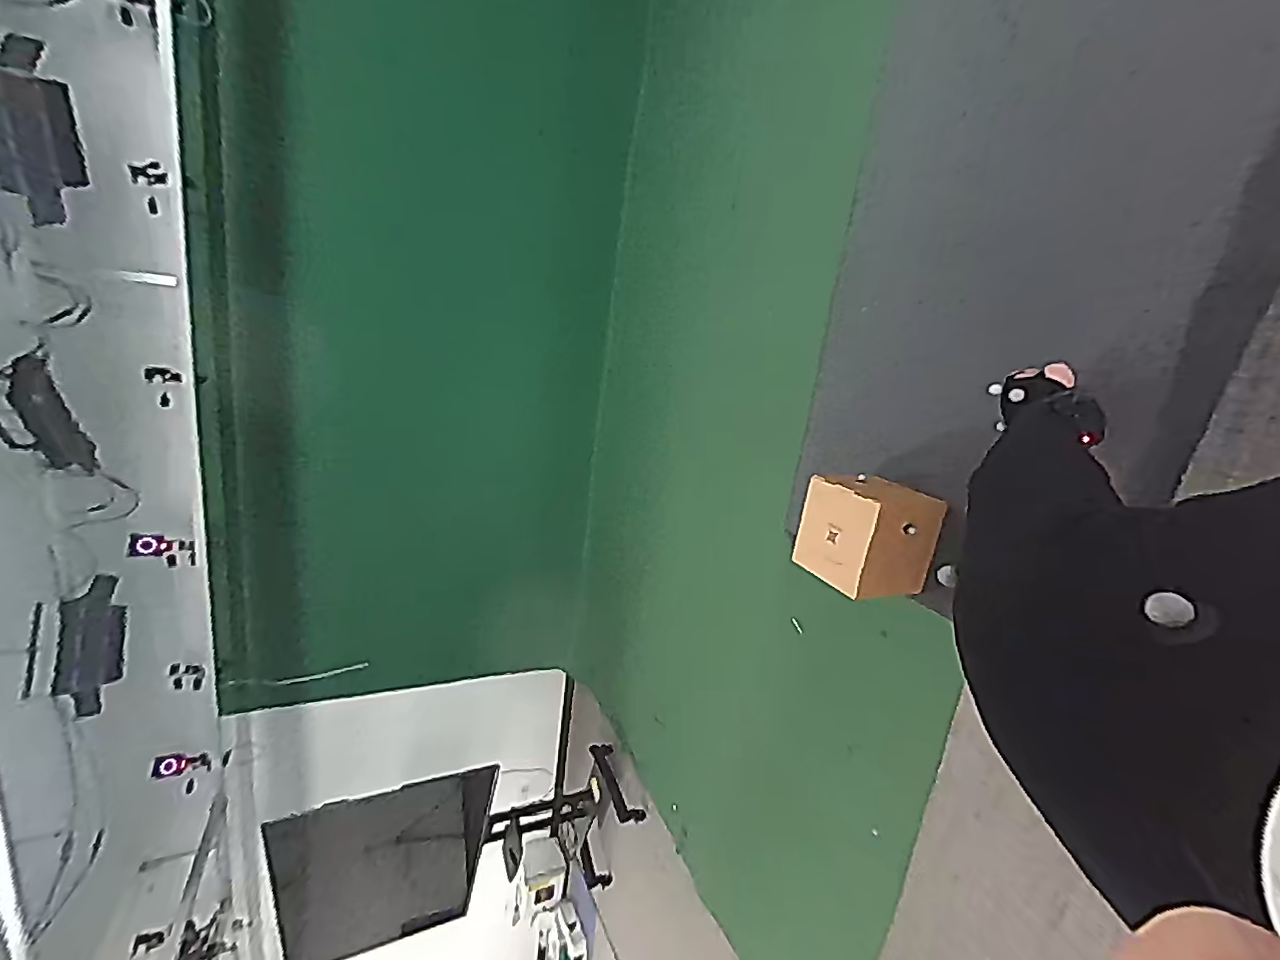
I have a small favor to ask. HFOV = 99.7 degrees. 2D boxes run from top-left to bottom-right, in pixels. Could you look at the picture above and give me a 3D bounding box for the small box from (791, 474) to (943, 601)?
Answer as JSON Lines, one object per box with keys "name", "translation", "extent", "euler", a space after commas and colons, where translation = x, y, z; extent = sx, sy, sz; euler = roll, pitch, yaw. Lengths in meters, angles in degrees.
{"name": "small box", "translation": [0.410, 0.099, 0.980], "extent": [0.168, 0.176, 0.179], "euler": [-140, 56, -60]}
